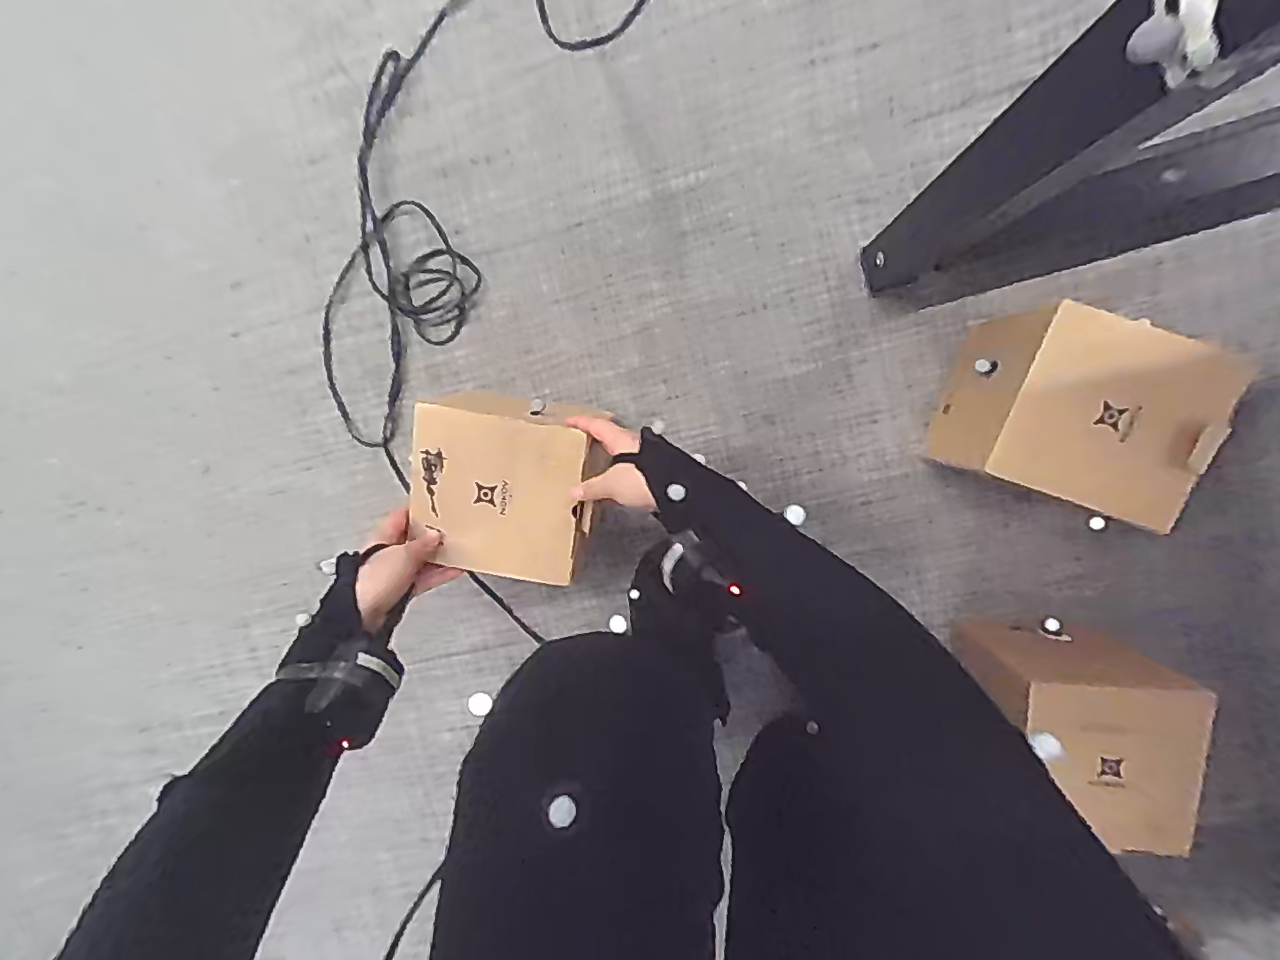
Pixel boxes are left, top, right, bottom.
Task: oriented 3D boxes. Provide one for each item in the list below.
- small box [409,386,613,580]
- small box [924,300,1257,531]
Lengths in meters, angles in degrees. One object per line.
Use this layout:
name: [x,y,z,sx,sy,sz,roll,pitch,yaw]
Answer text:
small box: [-0.132,-0.009,0.605,0.179,0.176,0.168,10,104,2]
small box: [0.433,-0.065,0.561,0.179,0.176,0.168,19,99,4]
